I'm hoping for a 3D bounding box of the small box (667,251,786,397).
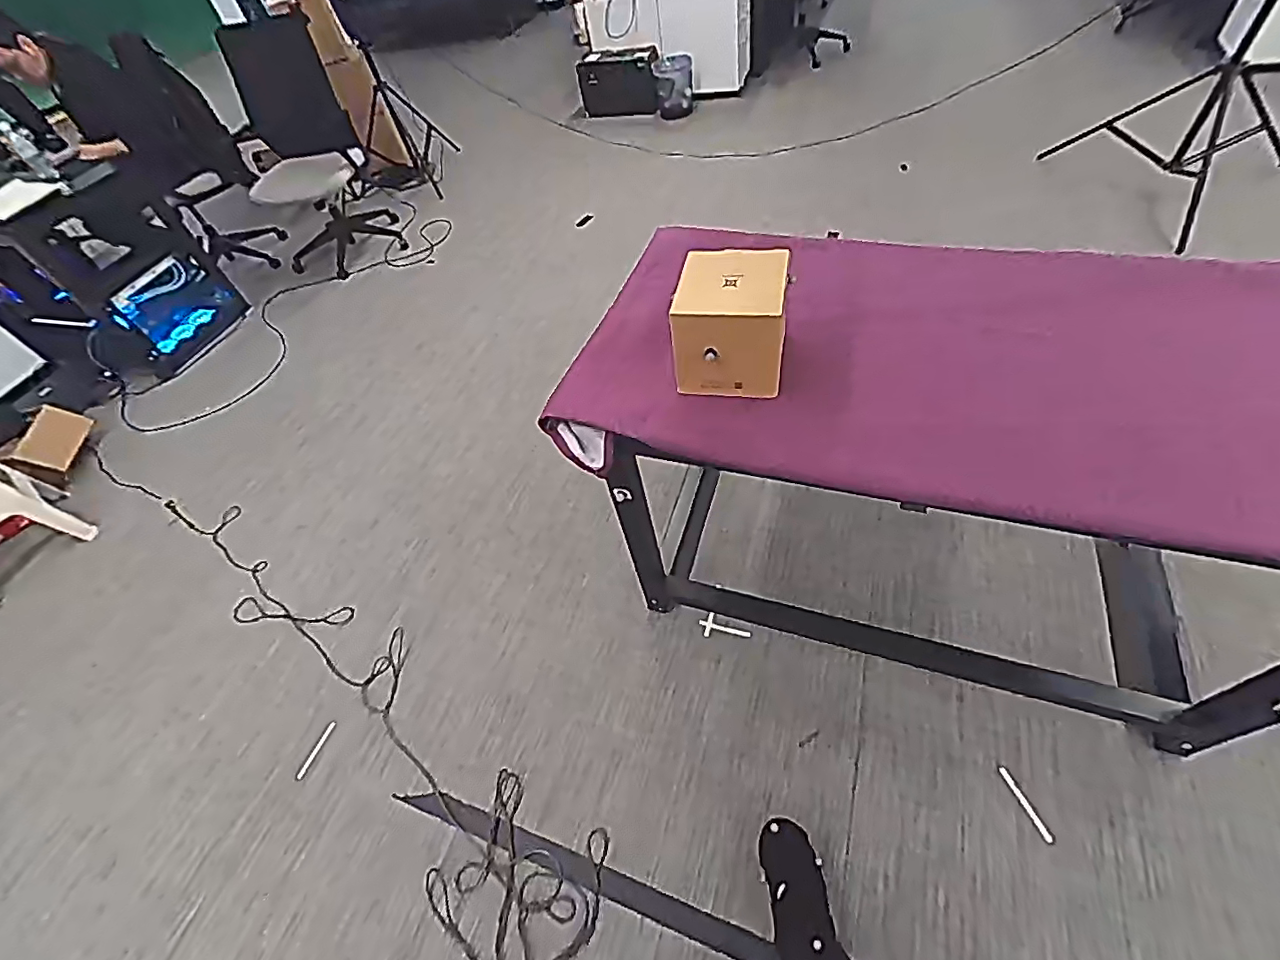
[{"bbox_3d":[0.149,-0.254,0.898,0.168,0.176,0.179,5,53,15],"label":"small box"}]
